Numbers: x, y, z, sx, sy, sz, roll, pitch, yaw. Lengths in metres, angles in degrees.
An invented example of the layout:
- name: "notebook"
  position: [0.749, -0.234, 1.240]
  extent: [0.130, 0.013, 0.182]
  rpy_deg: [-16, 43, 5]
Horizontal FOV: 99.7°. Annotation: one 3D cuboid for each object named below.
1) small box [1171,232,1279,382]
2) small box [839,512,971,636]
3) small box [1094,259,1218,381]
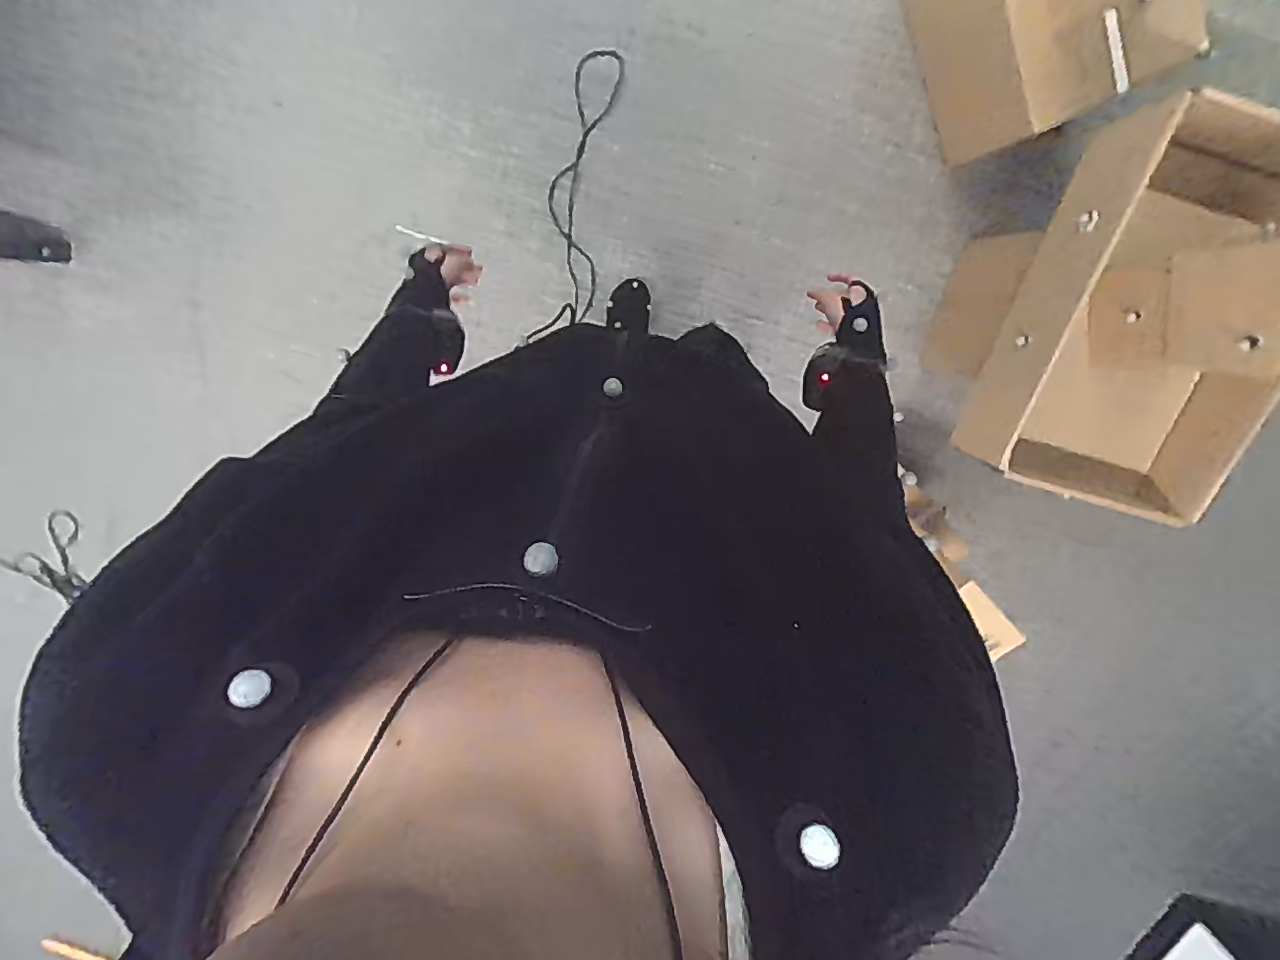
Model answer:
- name: "small box"
  position: [0.903, -0.249, 0.754]
  extent: [0.168, 0.176, 0.179]
  rpy_deg: [-12, 107, 4]
- name: "small box"
  position: [0.577, 0.201, 1.197]
  extent: [0.168, 0.176, 0.179]
  rpy_deg: [-38, 105, 13]
- name: "small box"
  position: [0.917, -0.279, 0.918]
  extent: [0.168, 0.176, 0.179]
  rpy_deg: [-13, 107, 6]
